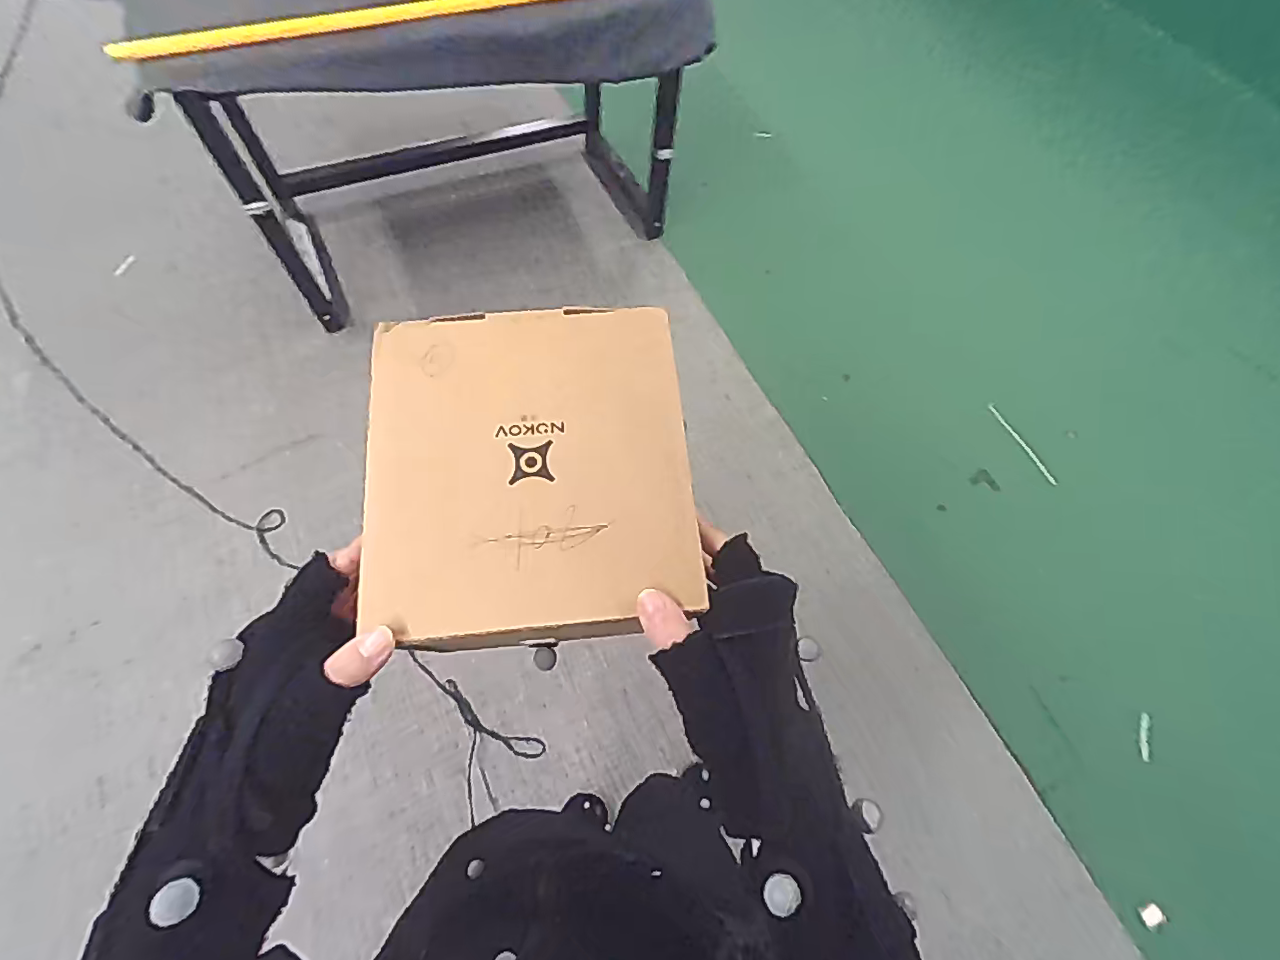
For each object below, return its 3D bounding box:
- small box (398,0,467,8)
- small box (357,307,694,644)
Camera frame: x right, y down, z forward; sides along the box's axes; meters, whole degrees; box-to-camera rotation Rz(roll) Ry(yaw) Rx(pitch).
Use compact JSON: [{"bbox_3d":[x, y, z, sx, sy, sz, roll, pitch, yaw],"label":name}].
[{"bbox_3d":[-0.489,-1.184,1.186,0.168,0.176,0.179,-22,67,-14],"label":"small box"},{"bbox_3d":[-0.067,0.009,0.365,0.168,0.176,0.179,-5,72,-5],"label":"small box"}]
